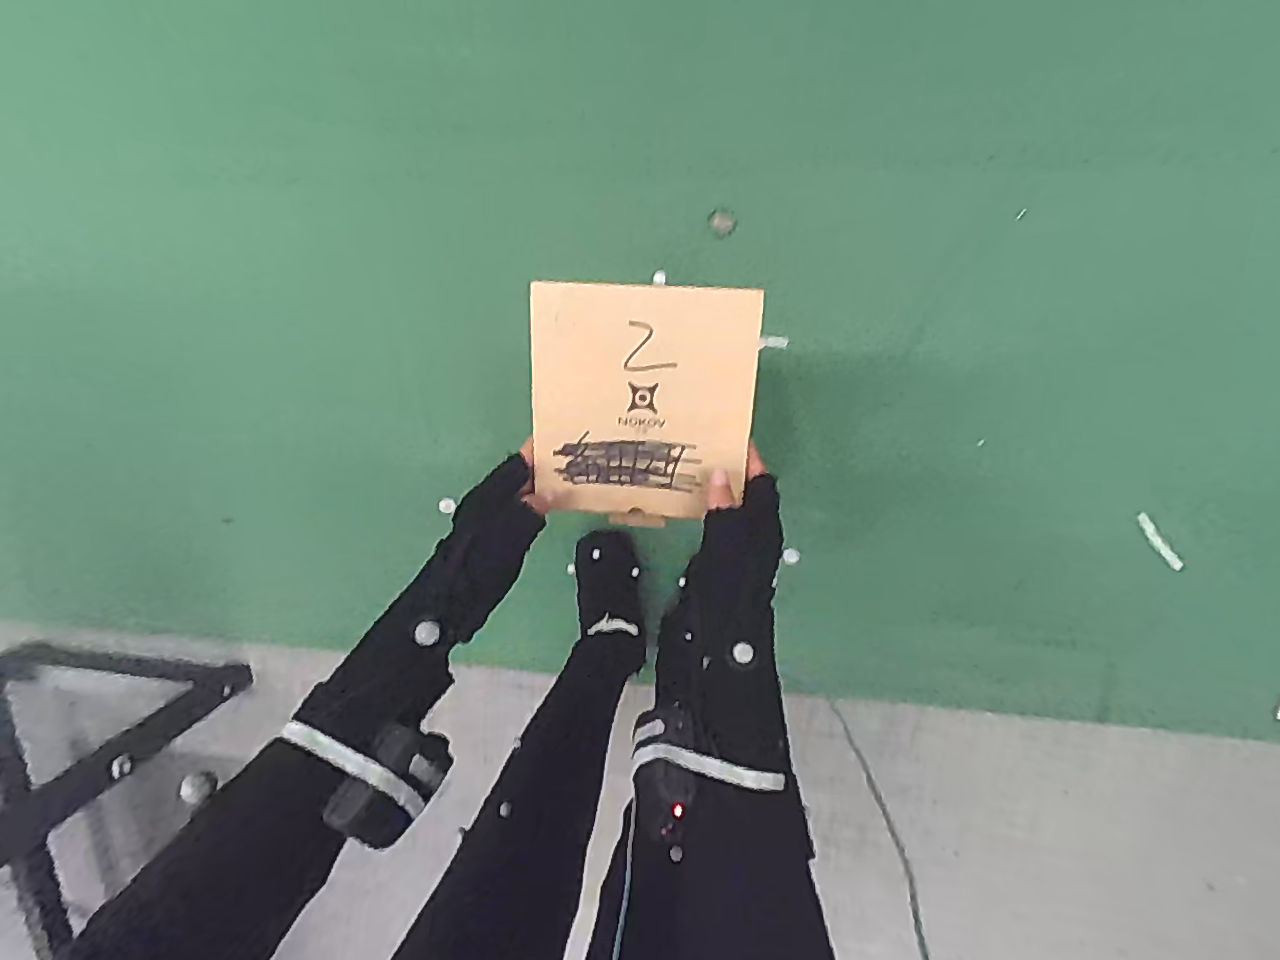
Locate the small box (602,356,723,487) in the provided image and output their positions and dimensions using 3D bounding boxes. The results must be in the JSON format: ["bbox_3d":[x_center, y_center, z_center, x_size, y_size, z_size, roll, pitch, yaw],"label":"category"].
[{"bbox_3d":[0.040,-0.099,0.845,0.168,0.176,0.179,5,103,7],"label":"small box"}]
